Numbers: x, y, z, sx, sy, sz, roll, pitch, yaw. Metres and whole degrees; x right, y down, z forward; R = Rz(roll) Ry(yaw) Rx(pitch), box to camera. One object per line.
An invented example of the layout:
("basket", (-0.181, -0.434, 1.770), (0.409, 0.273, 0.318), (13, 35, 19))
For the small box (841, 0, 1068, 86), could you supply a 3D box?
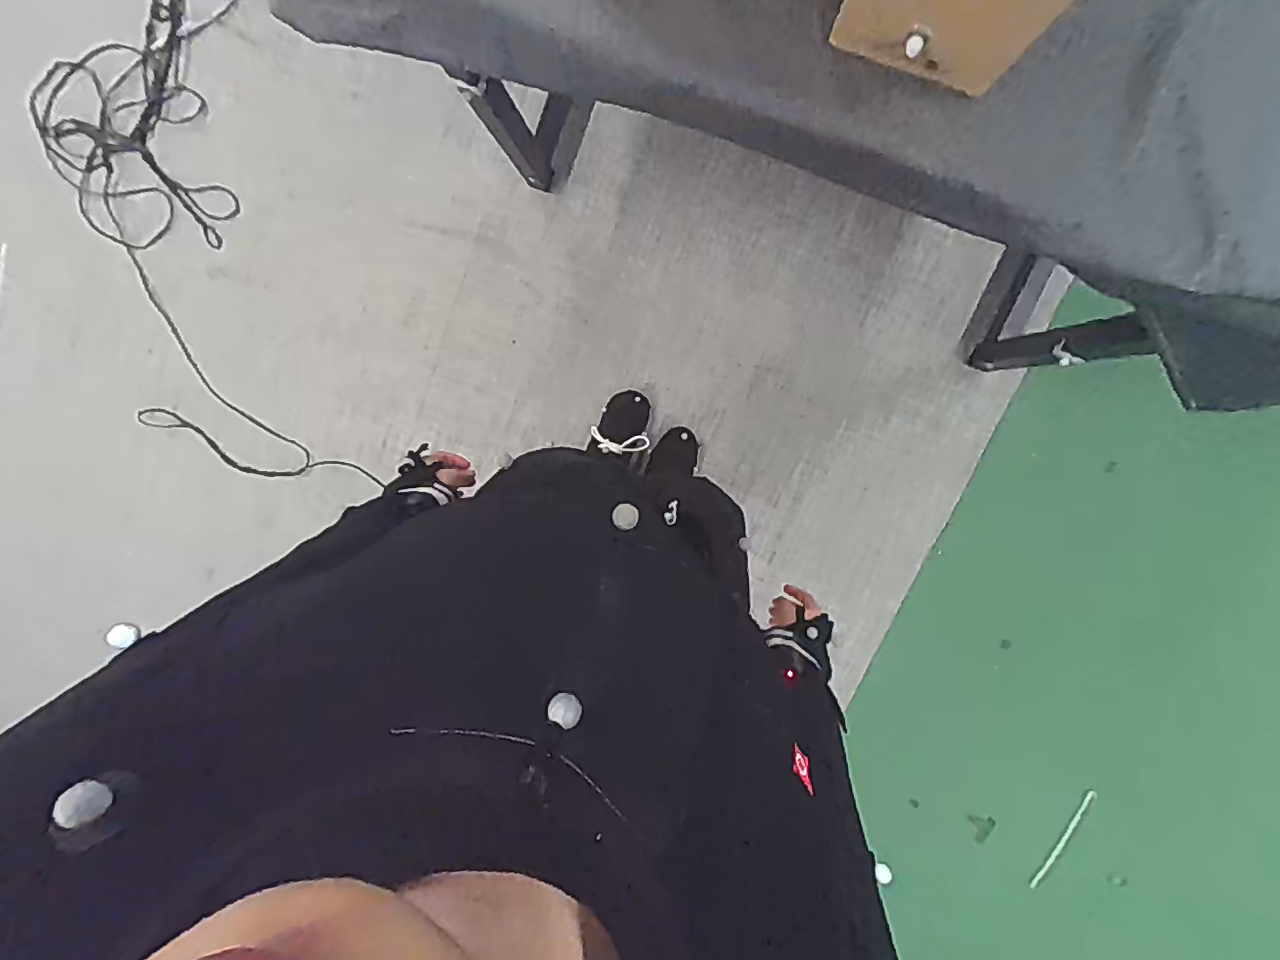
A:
("small box", (0.293, -0.488, 0.451), (0.168, 0.176, 0.179), (21, 99, 2))
